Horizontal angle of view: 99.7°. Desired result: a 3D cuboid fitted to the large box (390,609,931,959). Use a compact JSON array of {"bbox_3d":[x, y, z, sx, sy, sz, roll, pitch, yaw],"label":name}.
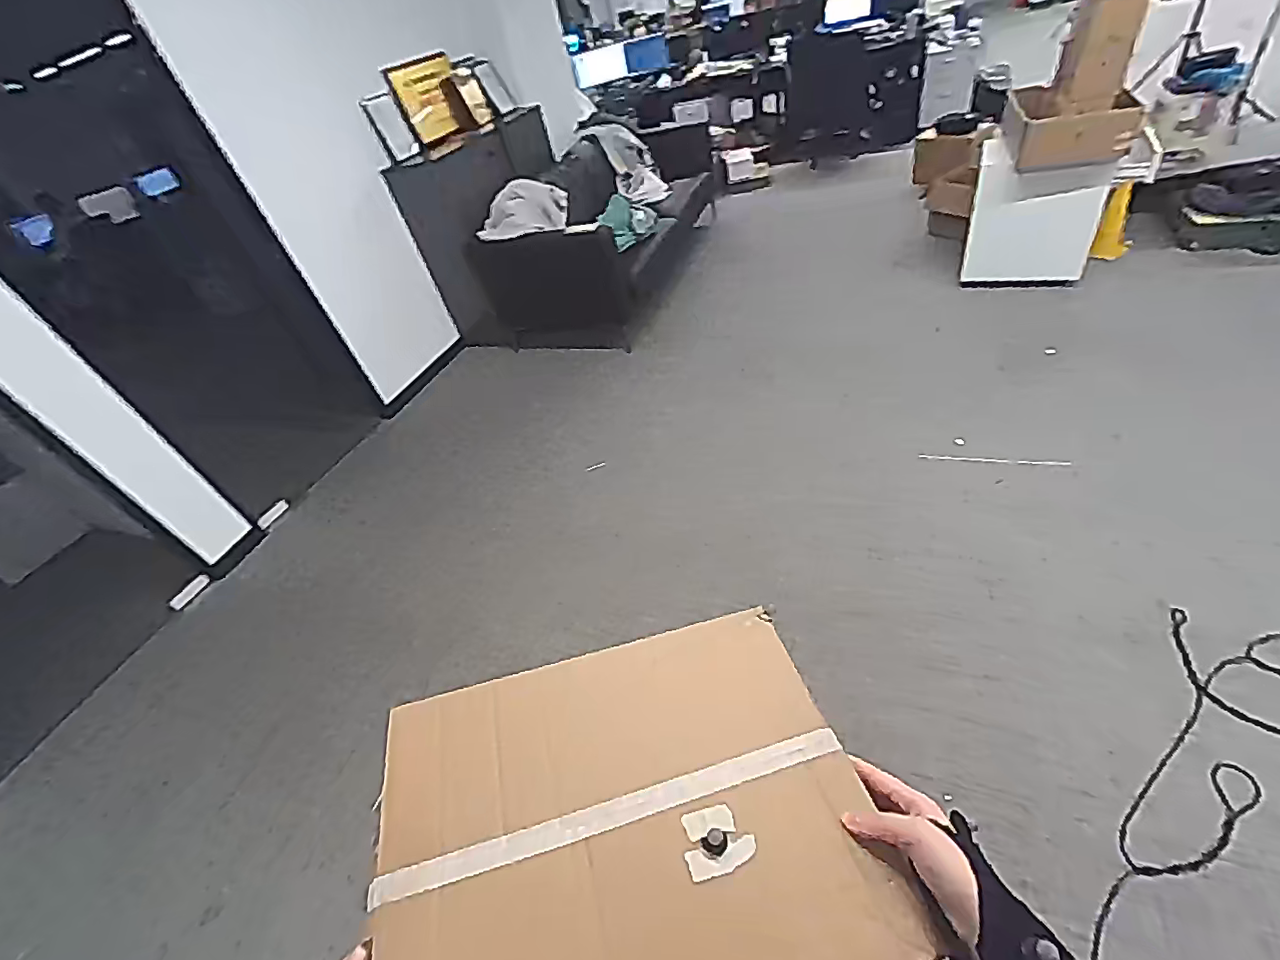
[{"bbox_3d":[-0.006,0.395,0.571,0.408,0.320,0.320,-11,42,-10],"label":"large box"}]
